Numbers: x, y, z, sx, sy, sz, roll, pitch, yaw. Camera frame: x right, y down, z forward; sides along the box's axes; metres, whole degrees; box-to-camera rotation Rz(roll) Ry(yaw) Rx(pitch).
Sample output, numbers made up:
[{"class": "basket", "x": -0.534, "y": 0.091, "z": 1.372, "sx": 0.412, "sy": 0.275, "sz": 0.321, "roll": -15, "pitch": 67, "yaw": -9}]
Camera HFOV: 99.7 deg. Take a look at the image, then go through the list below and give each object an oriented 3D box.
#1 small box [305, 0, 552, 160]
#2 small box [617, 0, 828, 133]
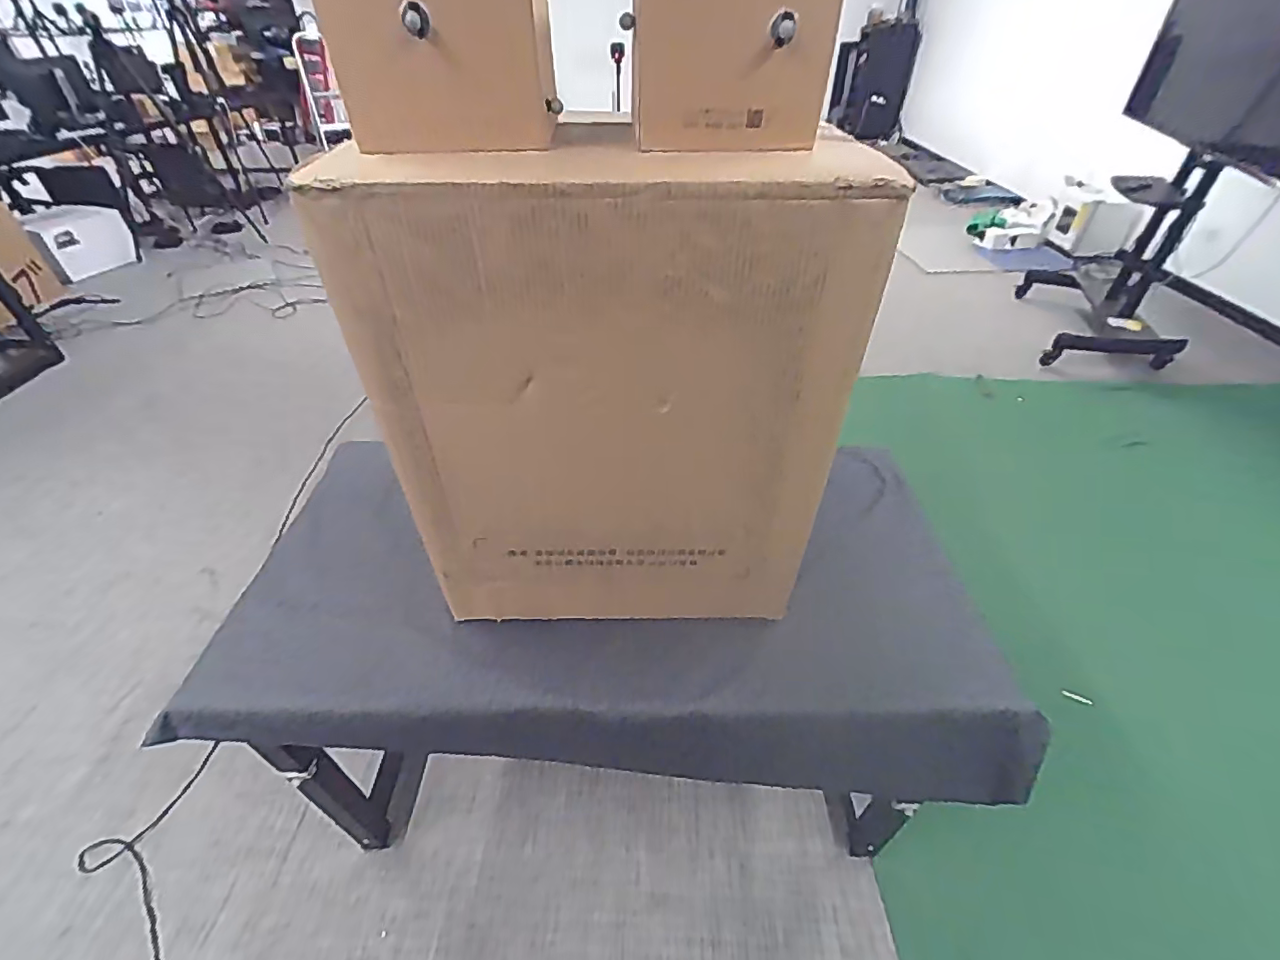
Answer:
[{"class": "small box", "x": -0.181, "y": -0.416, "z": 0.505, "sx": 0.179, "sy": 0.176, "sz": 0.168, "roll": -4, "pitch": 44, "yaw": -1}, {"class": "small box", "x": 0.068, "y": -0.434, "z": 0.499, "sx": 0.168, "sy": 0.176, "sz": 0.179, "roll": -5, "pitch": 45, "yaw": -5}]
